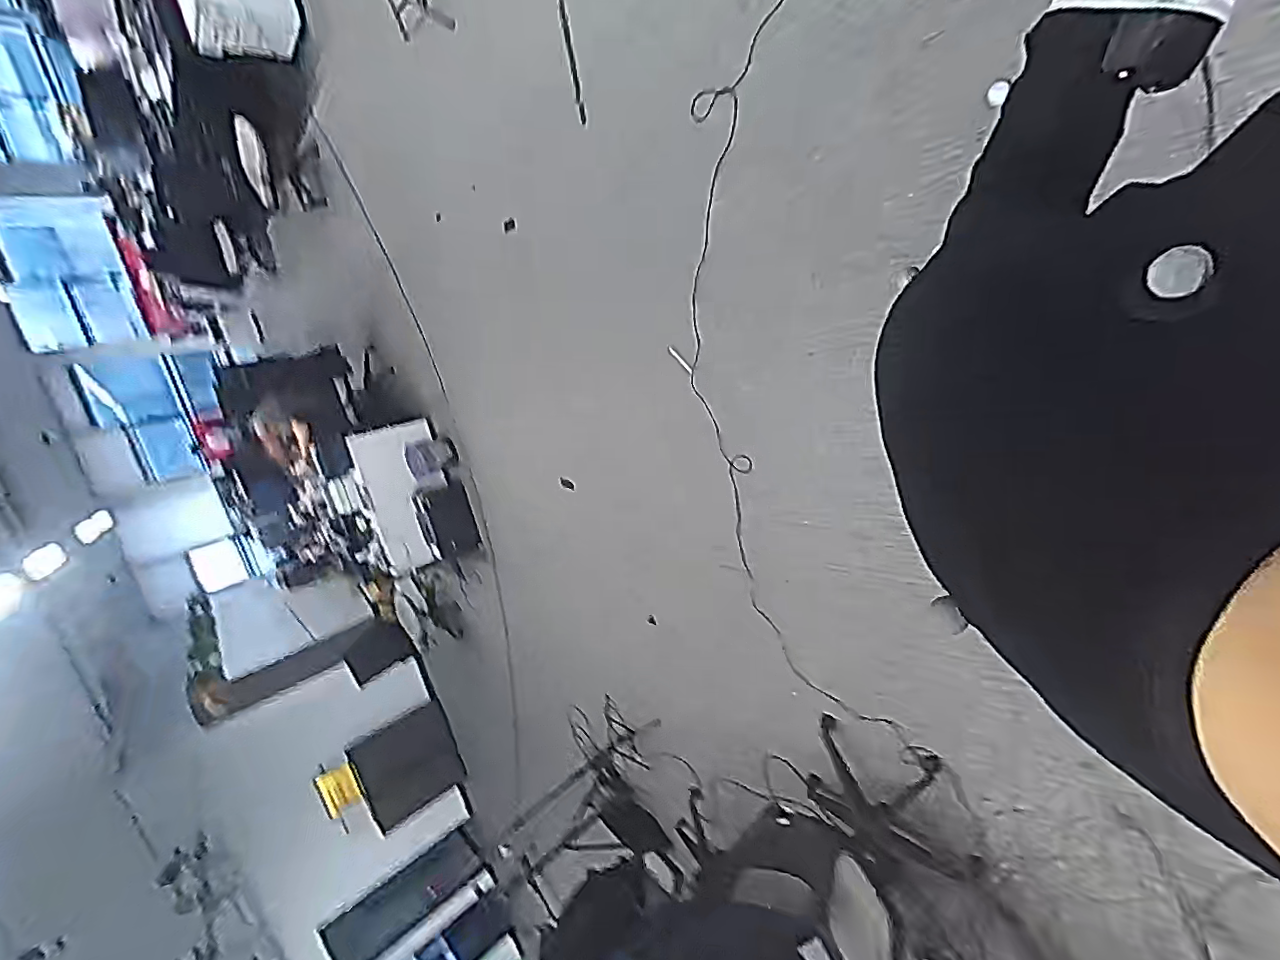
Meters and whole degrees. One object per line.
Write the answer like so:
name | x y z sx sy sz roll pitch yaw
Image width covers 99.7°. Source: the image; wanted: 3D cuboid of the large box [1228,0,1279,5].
large box | 0.556 -0.424 0.202 0.408 0.320 0.320 25 136 37
